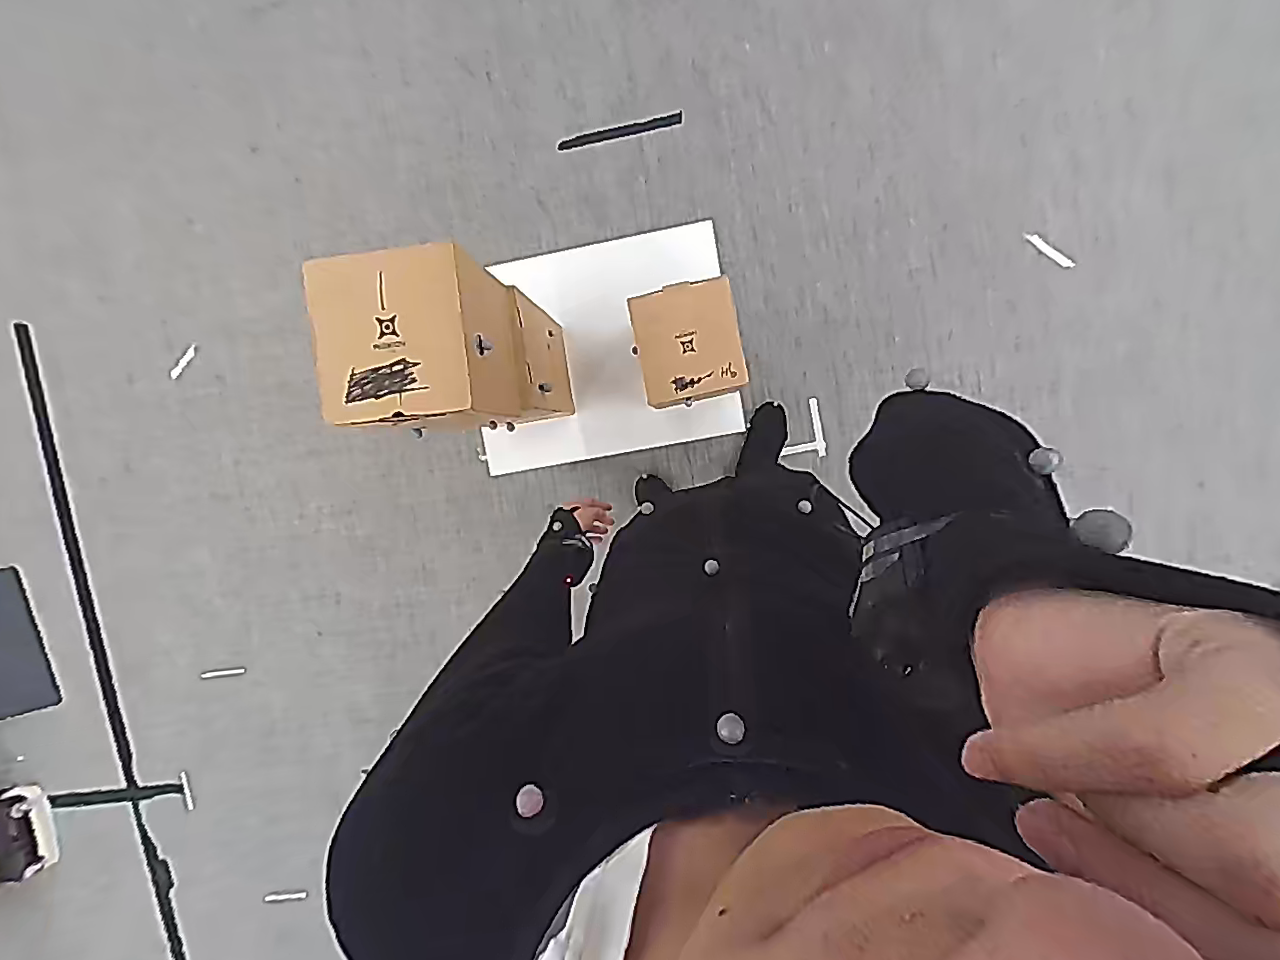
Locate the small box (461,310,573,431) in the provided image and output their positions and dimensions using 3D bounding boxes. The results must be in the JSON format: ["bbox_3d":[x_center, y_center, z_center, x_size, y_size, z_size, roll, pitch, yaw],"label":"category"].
[{"bbox_3d":[-0.224,-0.186,0.964,0.168,0.176,0.179,-9,94,4],"label":"small box"}]

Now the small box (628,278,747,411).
[{"bbox_3d":[0.081,-0.224,0.937,0.168,0.176,0.179,-12,94,6],"label":"small box"}]

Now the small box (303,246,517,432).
[{"bbox_3d":[-0.253,-0.151,0.638,0.168,0.176,0.179,-6,93,5],"label":"small box"}]
